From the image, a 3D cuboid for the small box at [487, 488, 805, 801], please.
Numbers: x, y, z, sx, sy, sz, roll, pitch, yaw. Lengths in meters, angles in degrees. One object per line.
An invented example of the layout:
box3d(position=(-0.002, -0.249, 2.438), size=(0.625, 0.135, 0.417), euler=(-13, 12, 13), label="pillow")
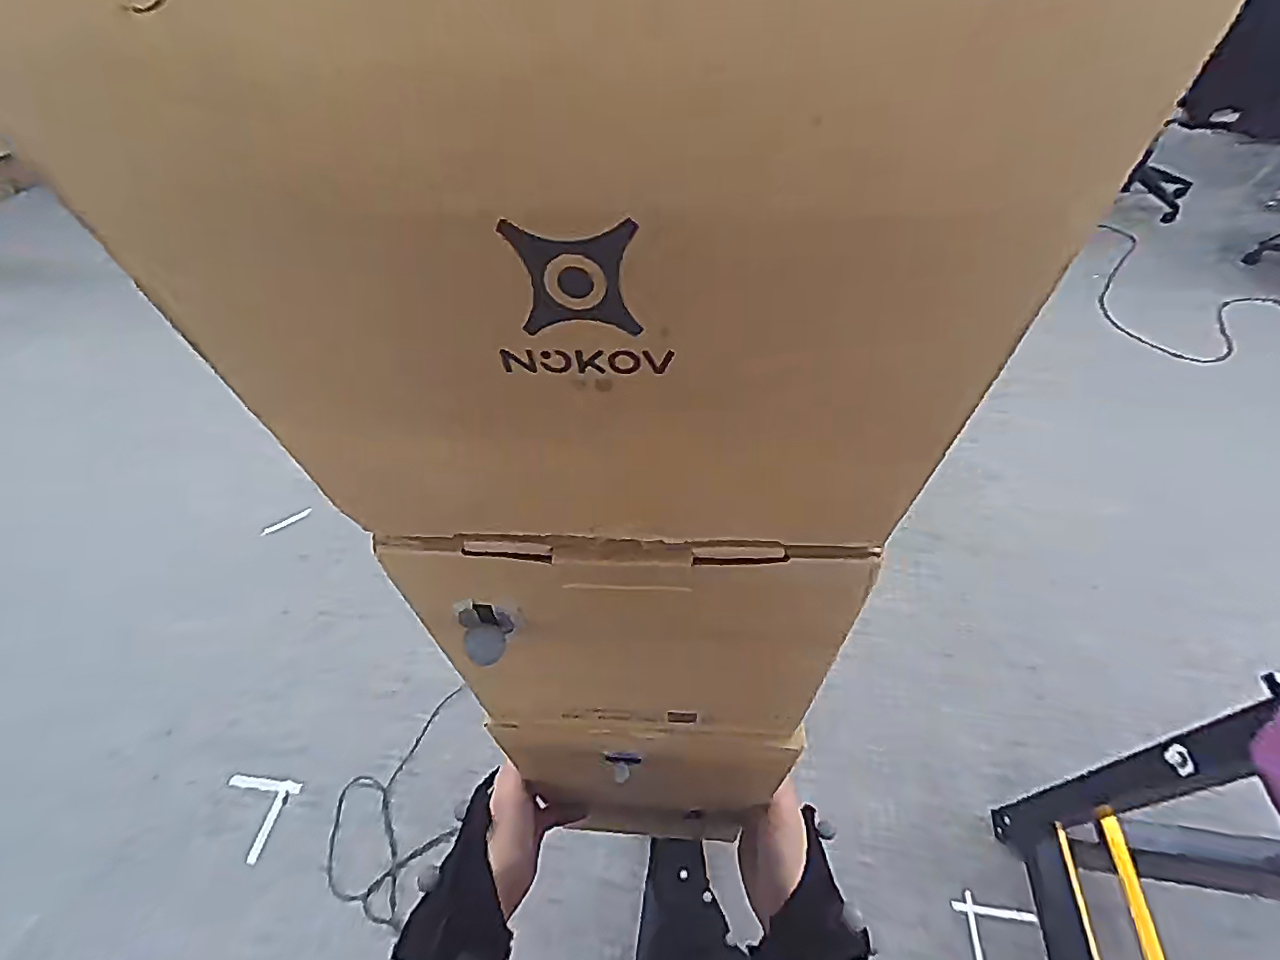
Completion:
box3d(position=(0.010, 0.124, 0.400), size=(0.179, 0.176, 0.168), euler=(2, 48, 3), label="small box")
